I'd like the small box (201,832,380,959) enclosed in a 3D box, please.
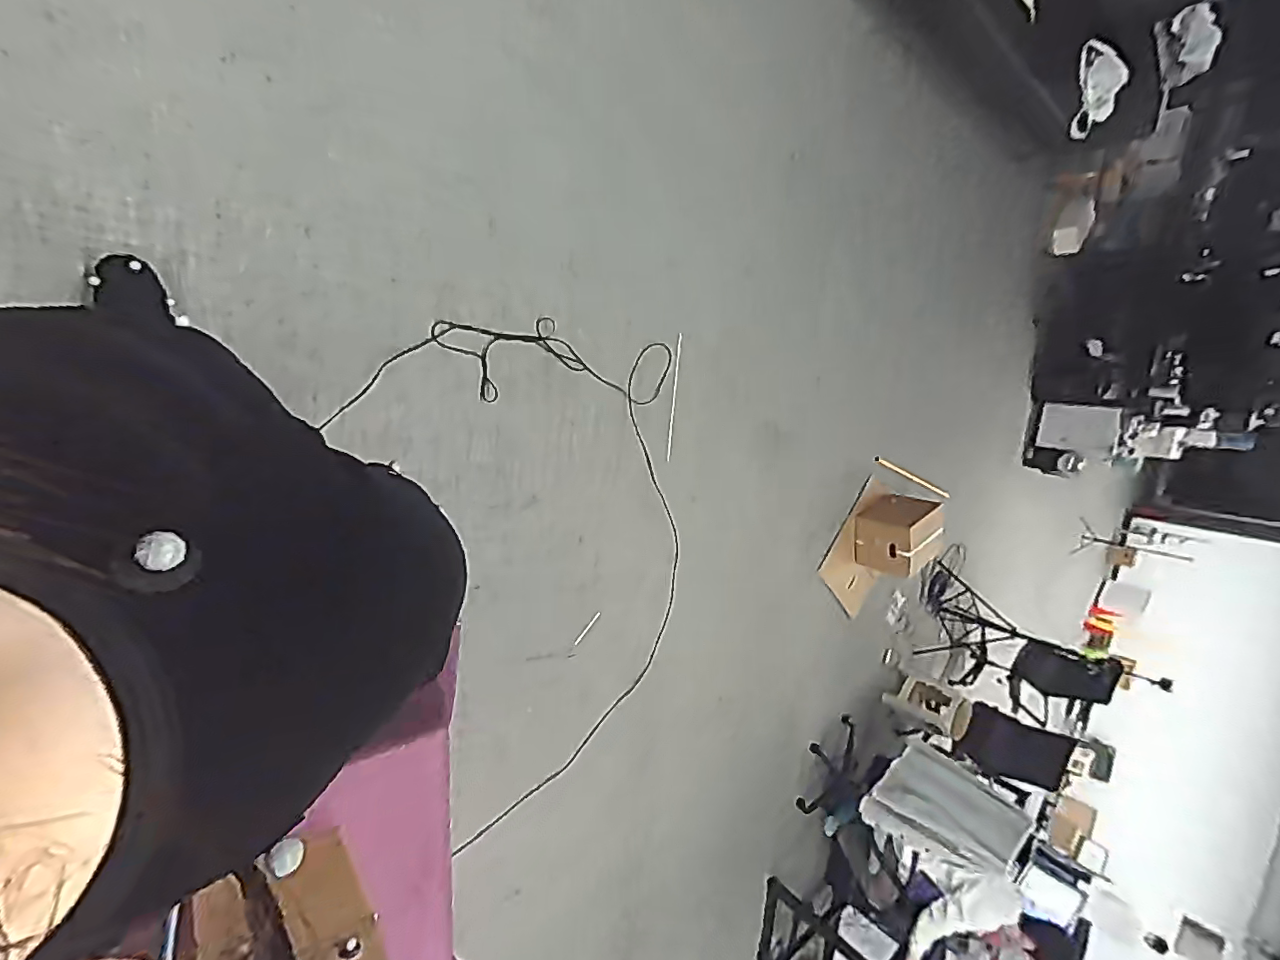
[{"bbox_3d":[-0.450,0.605,0.696,0.179,0.176,0.168,-3,103,-38],"label":"small box"}]

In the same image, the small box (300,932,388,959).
[{"bbox_3d":[-0.346,0.640,0.573,0.168,0.176,0.179,-4,104,-38],"label":"small box"}]
